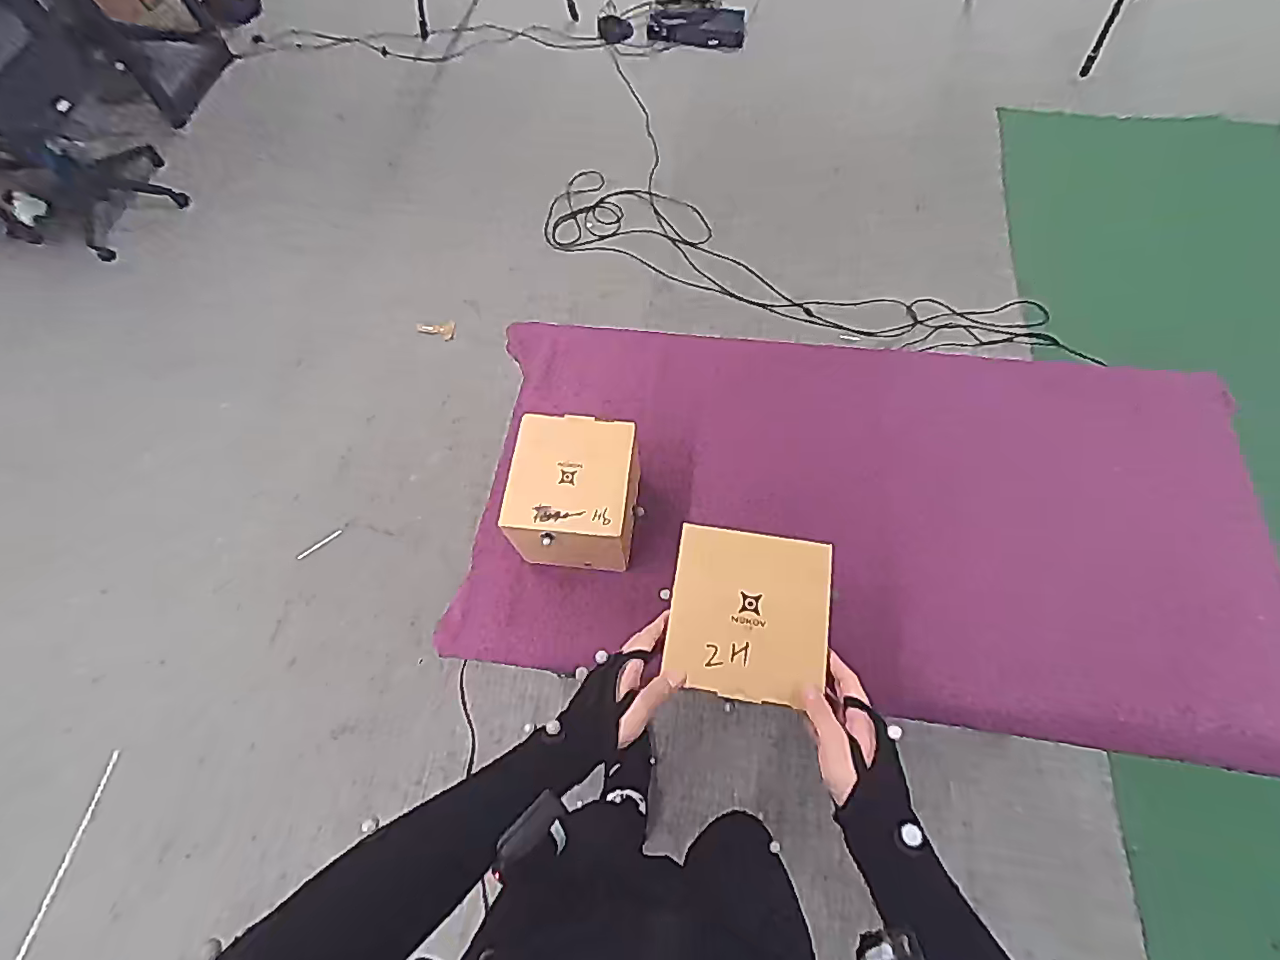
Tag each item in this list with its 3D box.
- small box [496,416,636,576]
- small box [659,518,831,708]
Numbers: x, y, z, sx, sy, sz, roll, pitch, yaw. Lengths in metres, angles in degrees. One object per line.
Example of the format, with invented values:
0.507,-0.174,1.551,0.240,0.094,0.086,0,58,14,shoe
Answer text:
-0.097,0.028,0.805,0.168,0.176,0.179,5,64,4,small box
0.119,0.163,0.642,0.168,0.176,0.179,8,69,8,small box
